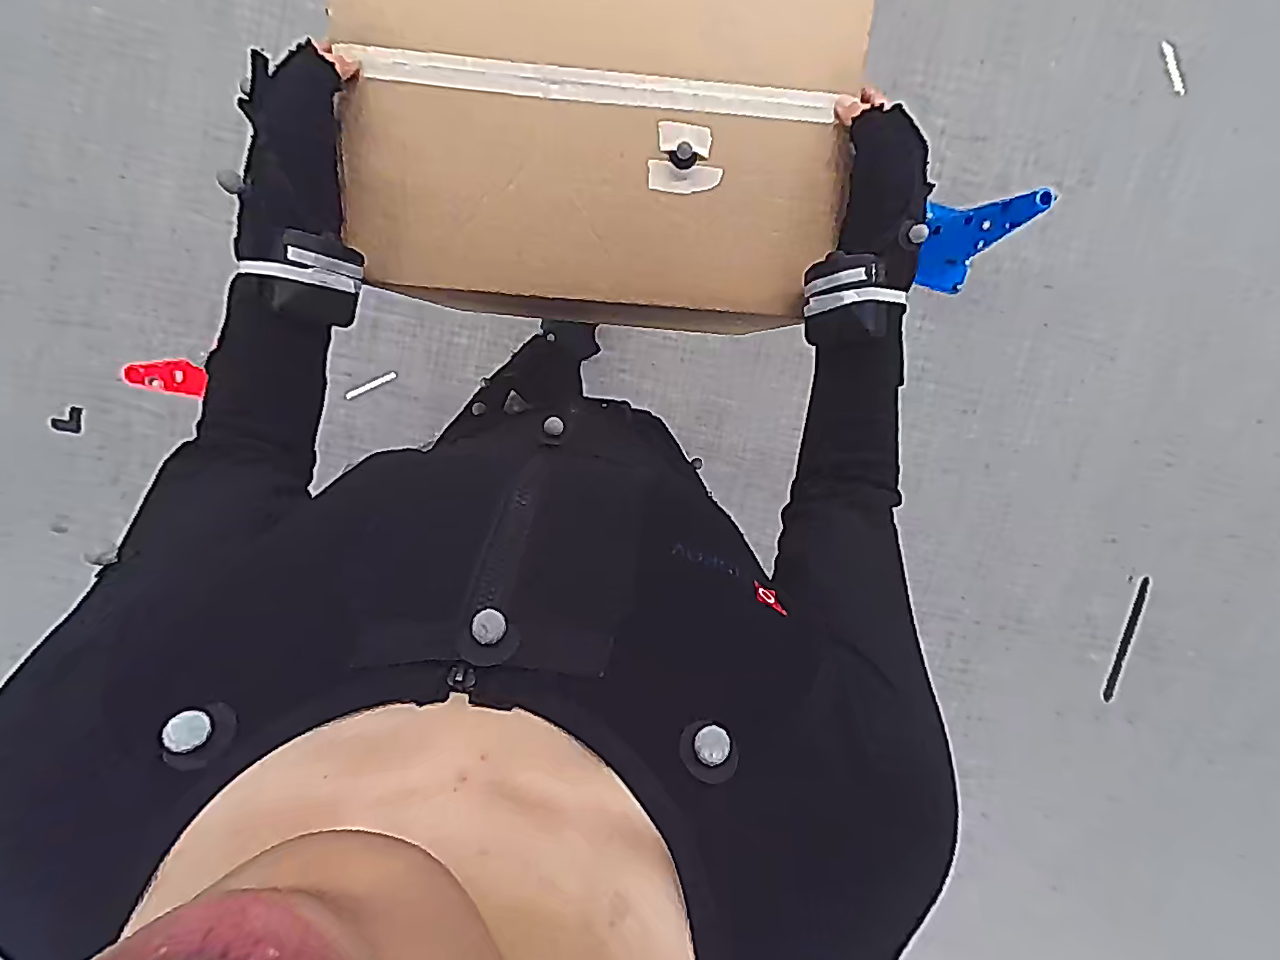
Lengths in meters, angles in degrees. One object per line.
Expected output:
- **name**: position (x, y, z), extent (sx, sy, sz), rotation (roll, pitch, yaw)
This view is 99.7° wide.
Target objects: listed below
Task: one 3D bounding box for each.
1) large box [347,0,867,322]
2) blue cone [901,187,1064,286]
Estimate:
- **large box**: position (-0.034, -0.347, 0.569), extent (0.408, 0.320, 0.320), rotation (4, 103, -4)
- **blue cone**: position (0.794, -0.589, 1.243), extent (0.192, 0.380, 0.193), rotation (15, 98, -6)
